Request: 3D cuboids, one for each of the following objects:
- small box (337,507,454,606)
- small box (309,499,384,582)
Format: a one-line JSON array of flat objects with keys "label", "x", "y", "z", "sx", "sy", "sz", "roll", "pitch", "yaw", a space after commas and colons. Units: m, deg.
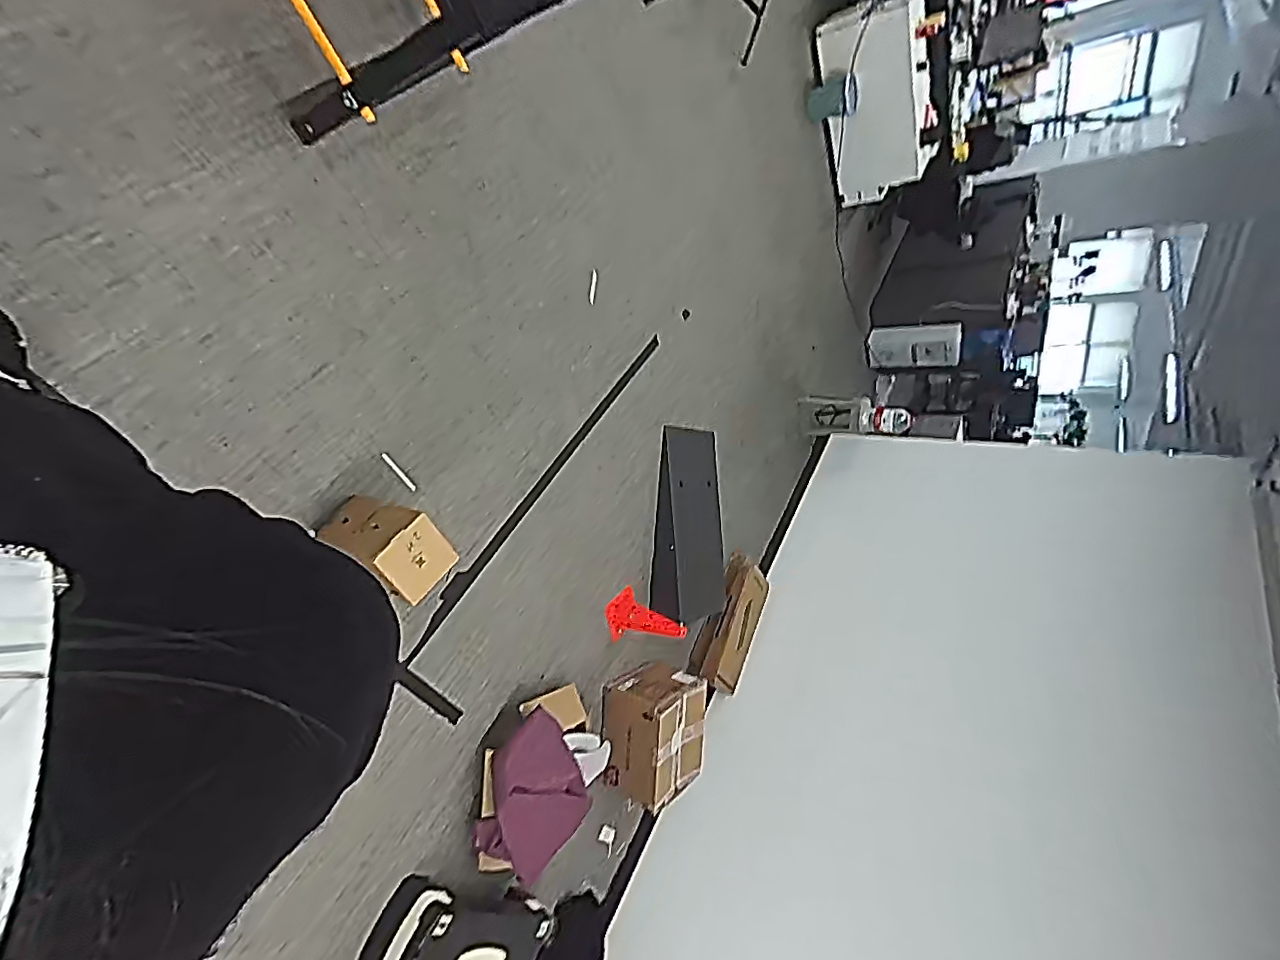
[{"label": "small box", "x": -0.622, "y": 0.187, "z": 1.380, "sx": 0.168, "sy": 0.176, "sz": 0.179, "roll": -52, "pitch": 134, "yaw": -35}, {"label": "small box", "x": -0.755, "y": 0.166, "z": 1.477, "sx": 0.168, "sy": 0.176, "sz": 0.179, "roll": -57, "pitch": 136, "yaw": -31}]
